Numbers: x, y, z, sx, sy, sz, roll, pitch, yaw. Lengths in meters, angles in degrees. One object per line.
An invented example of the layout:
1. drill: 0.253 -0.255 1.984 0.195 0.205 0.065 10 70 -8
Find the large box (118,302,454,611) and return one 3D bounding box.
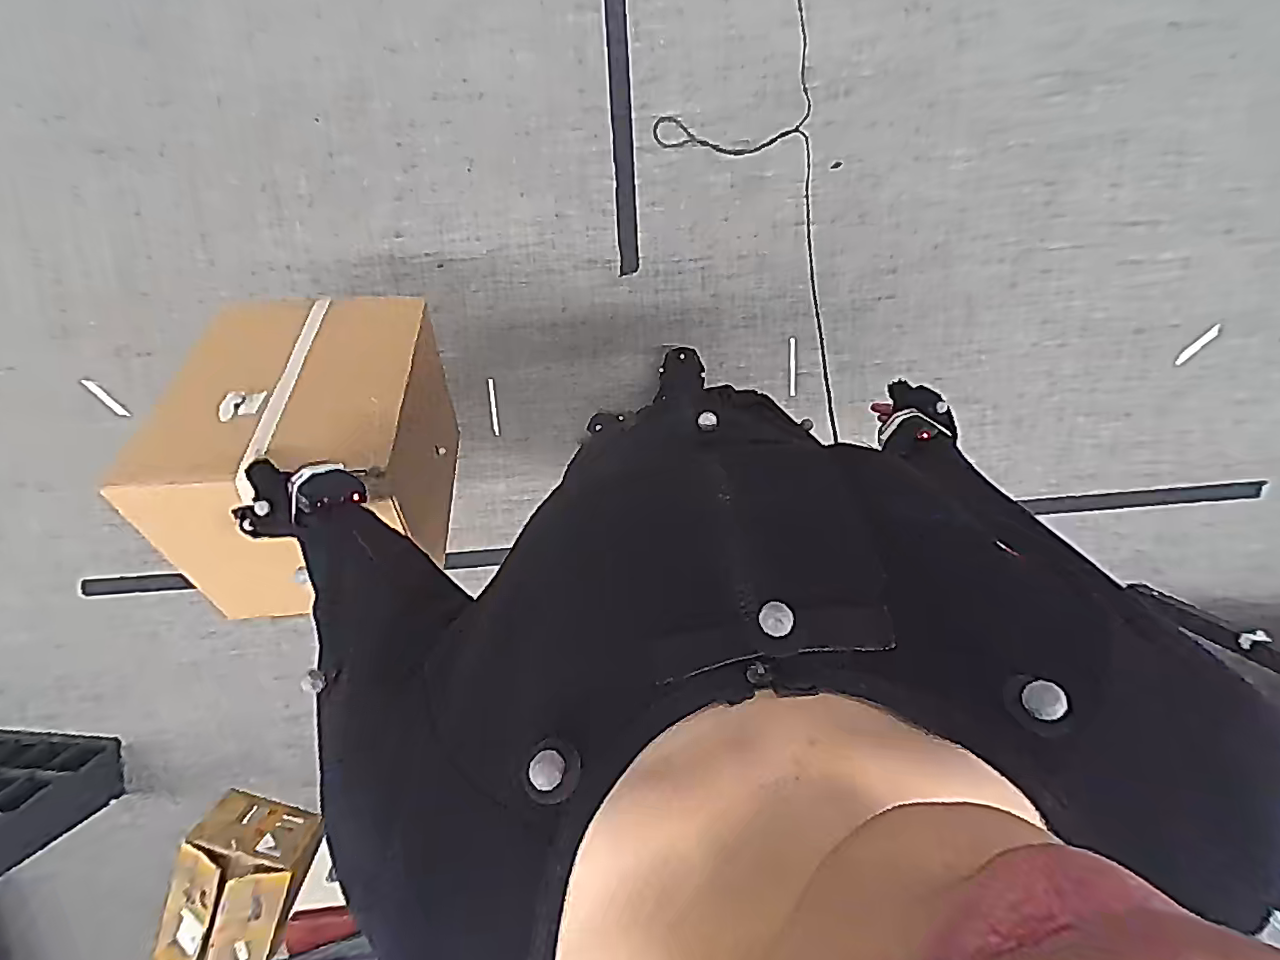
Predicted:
1. large box: -0.497 -0.047 0.883 0.320 0.408 0.320 -4 139 -8
